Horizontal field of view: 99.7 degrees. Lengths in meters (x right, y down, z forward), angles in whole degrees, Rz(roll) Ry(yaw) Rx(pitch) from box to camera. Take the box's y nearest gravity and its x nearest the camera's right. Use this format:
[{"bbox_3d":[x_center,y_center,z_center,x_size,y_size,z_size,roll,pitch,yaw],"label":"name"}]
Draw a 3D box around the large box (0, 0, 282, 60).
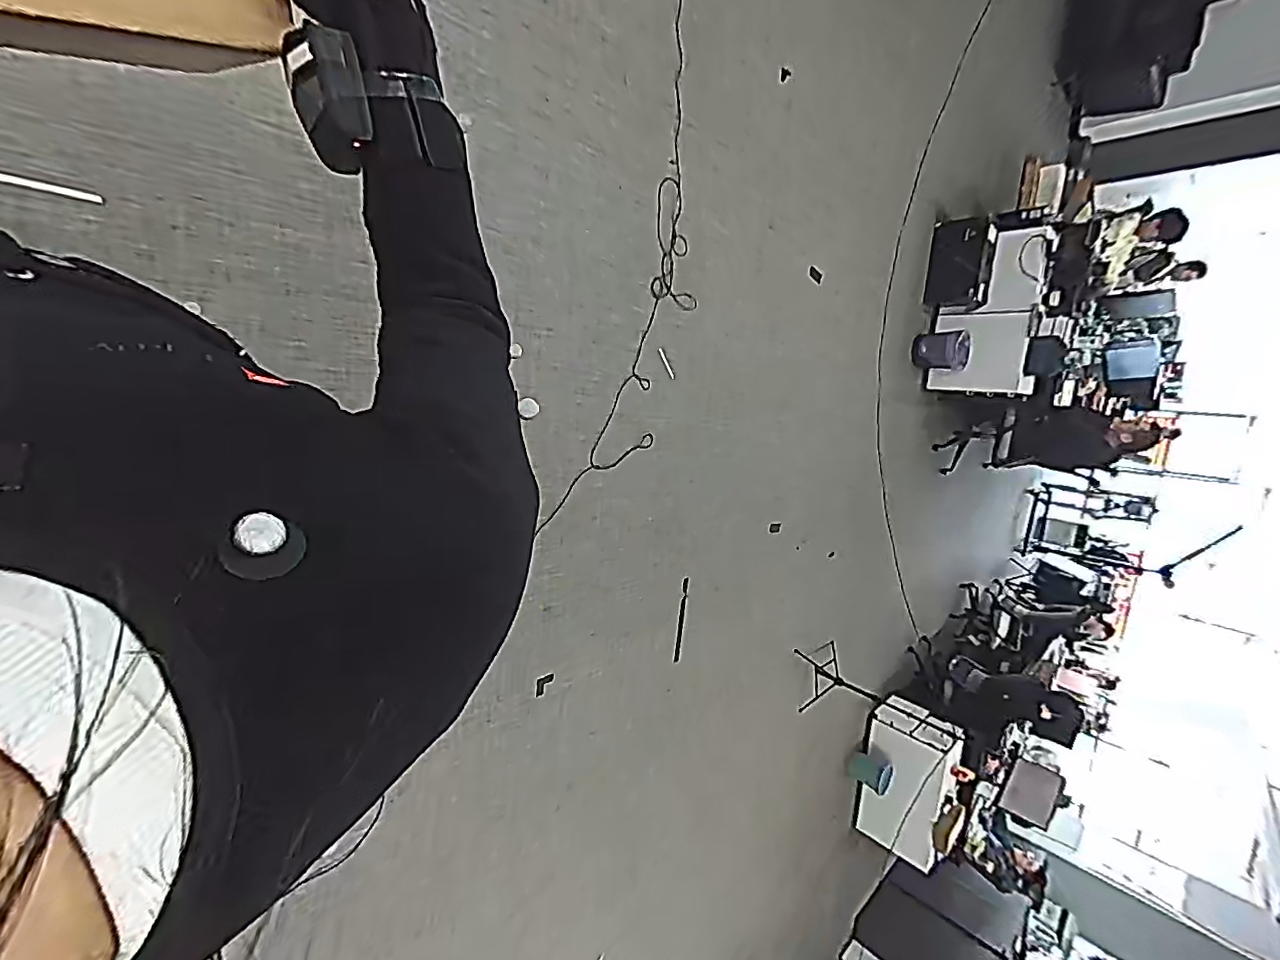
[{"bbox_3d":[-0.463,-0.412,0.240,0.408,0.320,0.320,-22,131,-37],"label":"large box"}]
